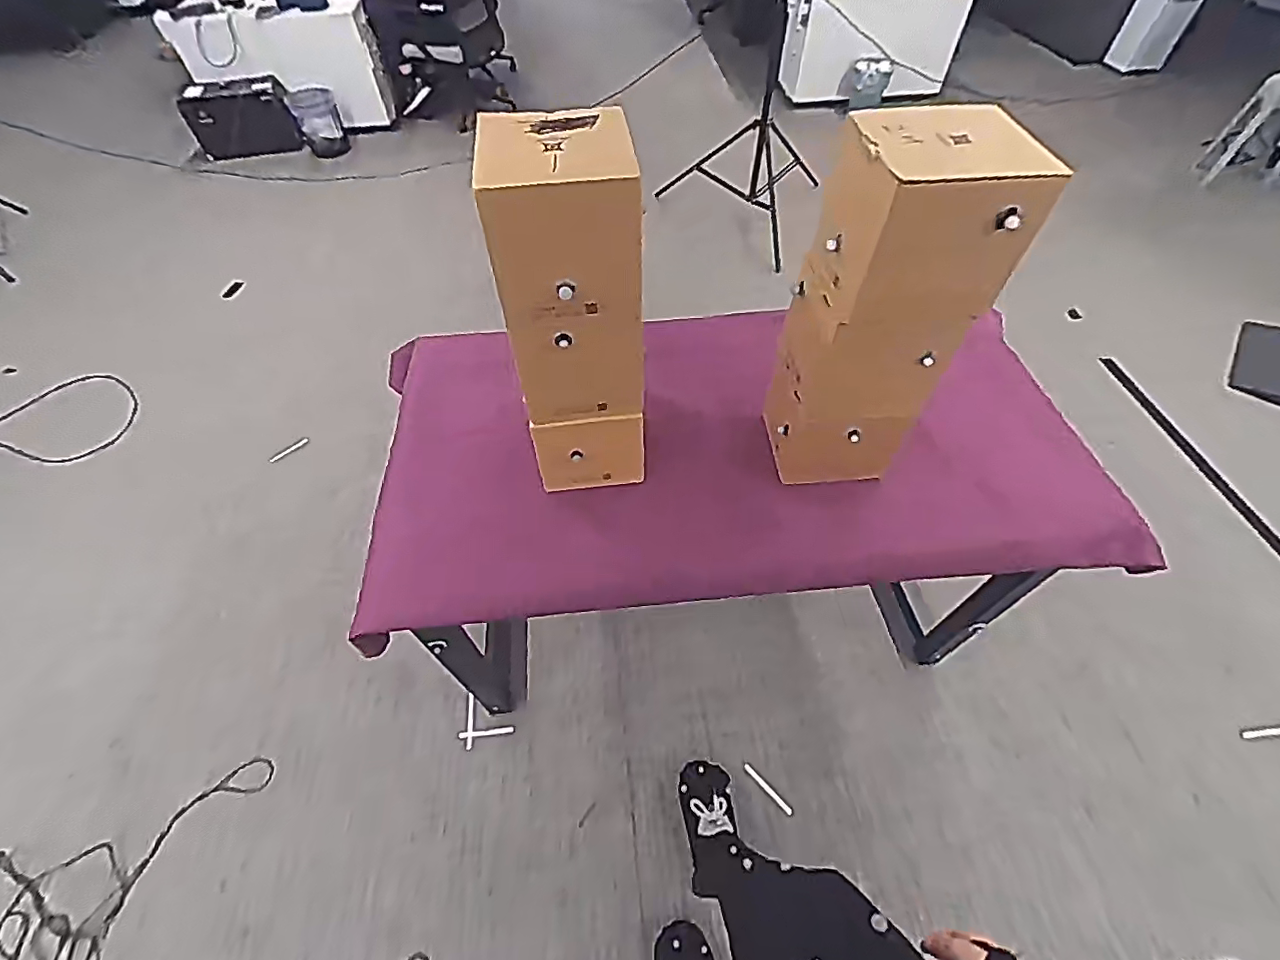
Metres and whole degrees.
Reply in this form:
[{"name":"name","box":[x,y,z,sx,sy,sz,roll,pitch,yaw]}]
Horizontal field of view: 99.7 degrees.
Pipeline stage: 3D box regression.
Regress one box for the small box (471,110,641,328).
[{"name":"small box","box":[-0.091,-0.303,0.634,0.168,0.176,0.179,-7,54,-4]}]

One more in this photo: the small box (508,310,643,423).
[{"name":"small box","box":[-0.089,-0.206,0.767,0.168,0.176,0.179,-8,53,-4]}]

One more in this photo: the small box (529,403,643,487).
[{"name":"small box","box":[-0.086,-0.102,0.894,0.168,0.176,0.179,-6,53,-3]}]

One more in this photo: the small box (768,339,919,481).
[{"name":"small box","box":[0.317,-0.111,0.893,0.179,0.176,0.168,-3,54,-2]}]

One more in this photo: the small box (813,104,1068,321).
[{"name":"small box","box":[0.322,-0.304,0.626,0.179,0.176,0.168,-4,54,-2]}]
